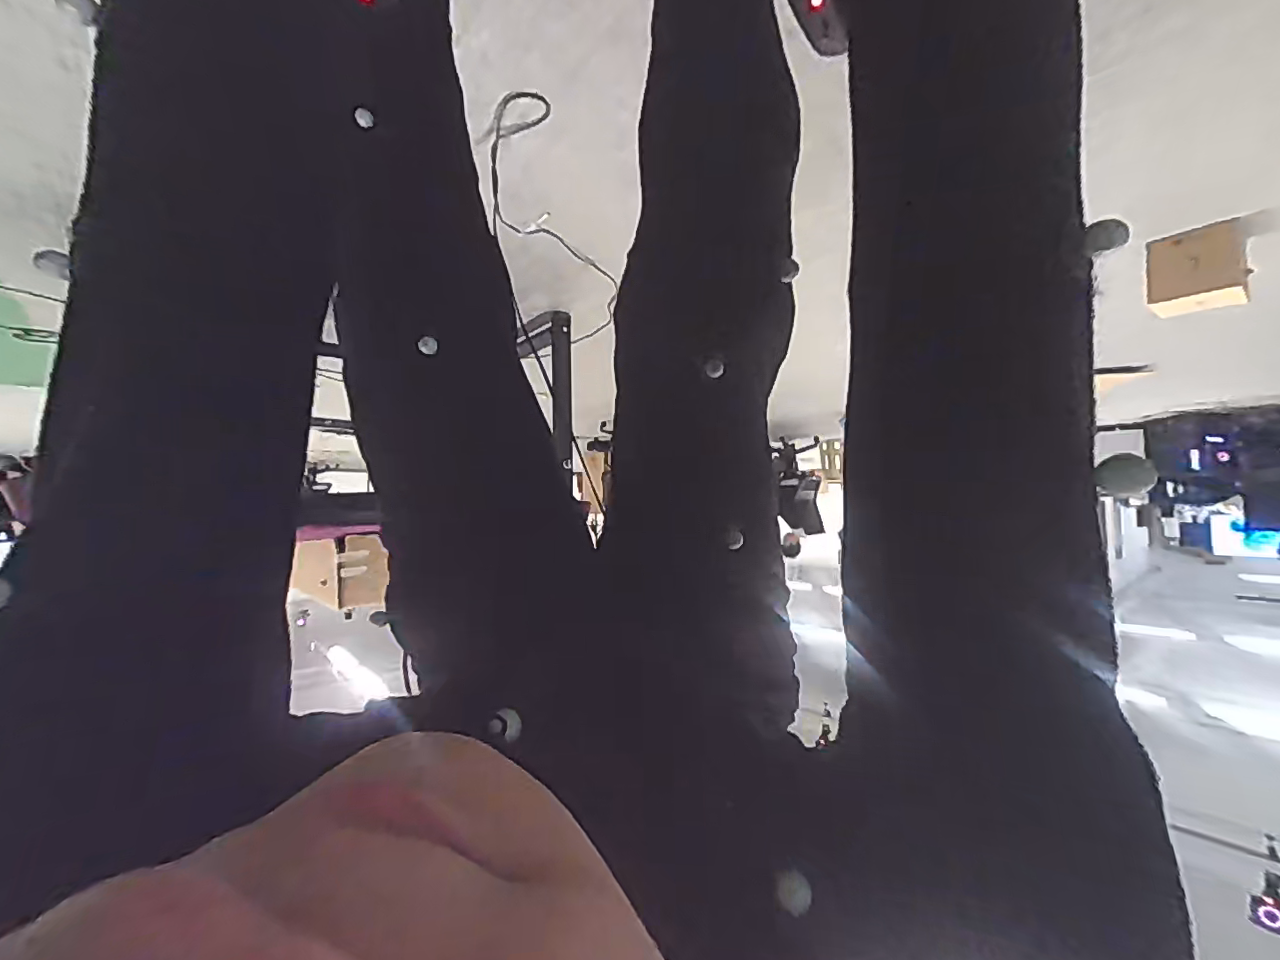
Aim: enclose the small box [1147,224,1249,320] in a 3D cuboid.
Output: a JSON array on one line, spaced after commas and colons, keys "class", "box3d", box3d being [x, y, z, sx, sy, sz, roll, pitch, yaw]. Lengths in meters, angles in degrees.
[{"class": "small box", "box3d": [1.424, -0.528, 1.382, 0.179, 0.176, 0.168, 1, 178, -38]}]
